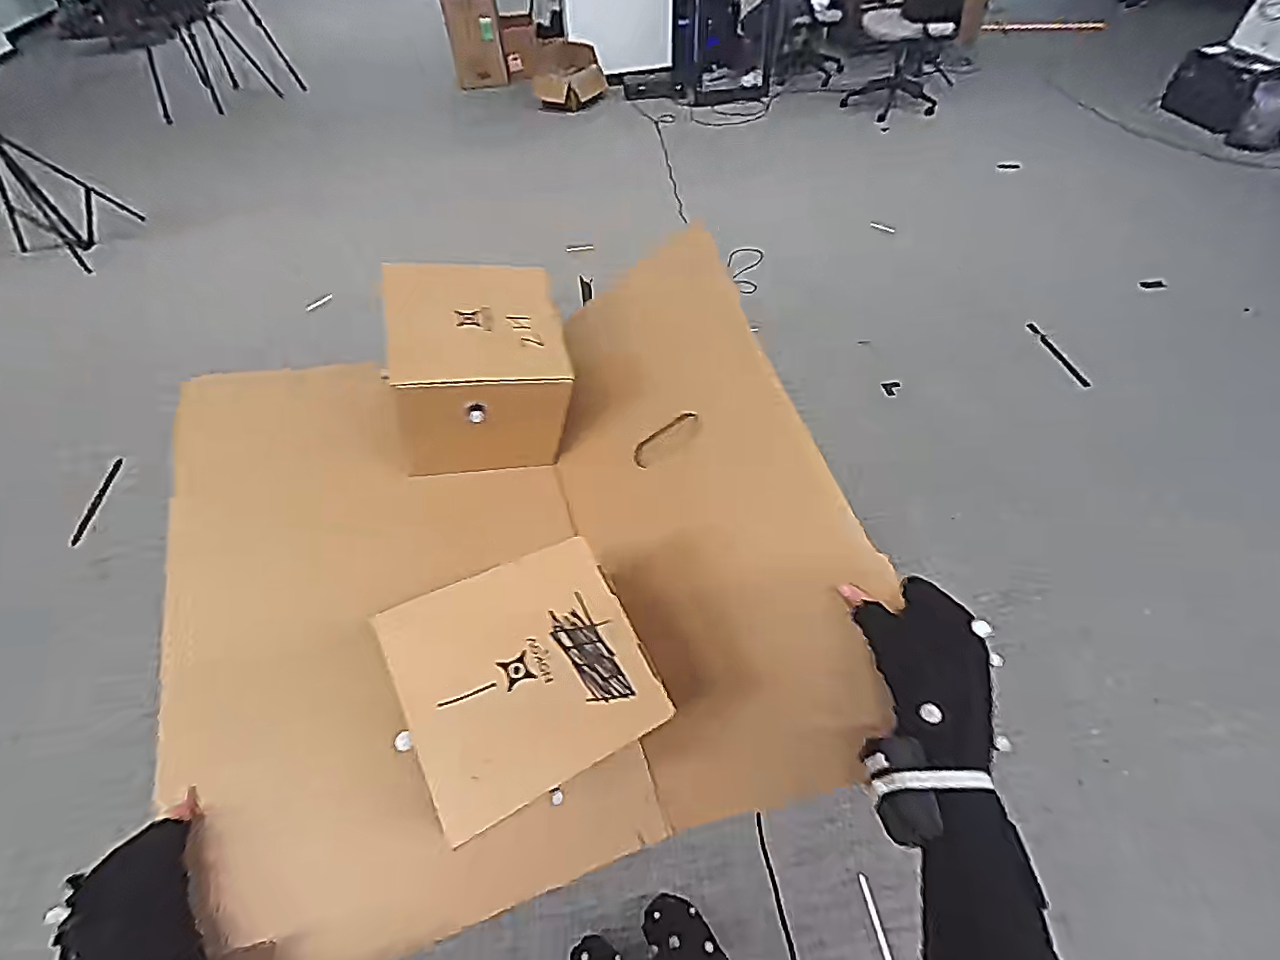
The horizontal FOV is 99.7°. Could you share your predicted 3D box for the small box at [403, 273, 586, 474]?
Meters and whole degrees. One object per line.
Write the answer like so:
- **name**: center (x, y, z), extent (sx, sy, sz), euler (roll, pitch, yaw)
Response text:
- **small box**: center (-0.174, -0.117, 0.636), extent (0.179, 0.176, 0.168), euler (-4, 62, -20)
